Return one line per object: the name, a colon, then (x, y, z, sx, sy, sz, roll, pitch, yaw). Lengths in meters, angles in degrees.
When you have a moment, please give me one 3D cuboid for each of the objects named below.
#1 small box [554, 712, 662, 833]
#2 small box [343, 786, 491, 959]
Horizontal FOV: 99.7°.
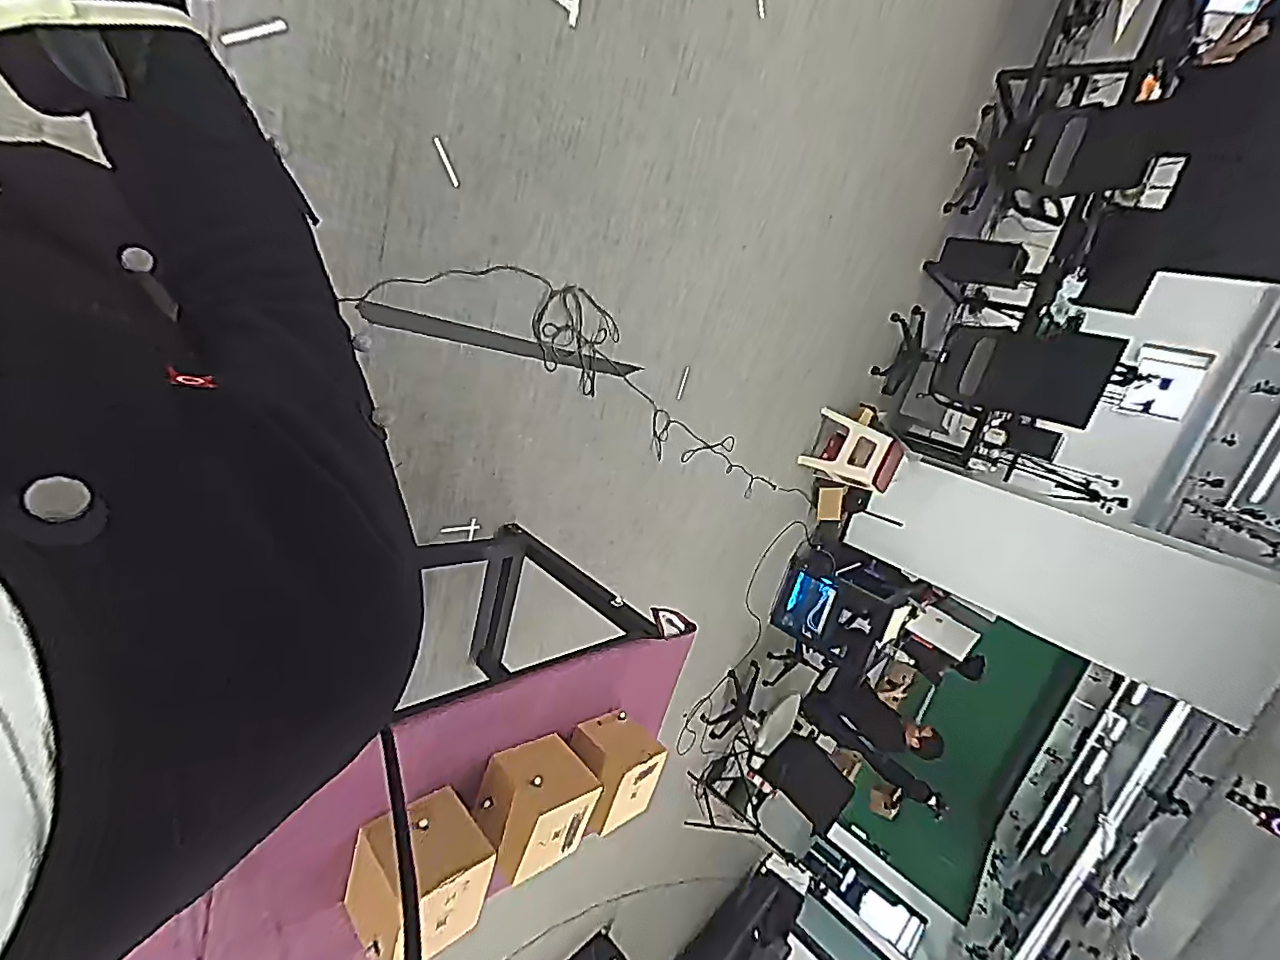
small box: (-0.080, 0.683, 1.295, 0.168, 0.176, 0.179, 8, 105, -51)
small box: (-0.387, 0.678, 0.928, 0.168, 0.176, 0.179, 0, 112, -50)
